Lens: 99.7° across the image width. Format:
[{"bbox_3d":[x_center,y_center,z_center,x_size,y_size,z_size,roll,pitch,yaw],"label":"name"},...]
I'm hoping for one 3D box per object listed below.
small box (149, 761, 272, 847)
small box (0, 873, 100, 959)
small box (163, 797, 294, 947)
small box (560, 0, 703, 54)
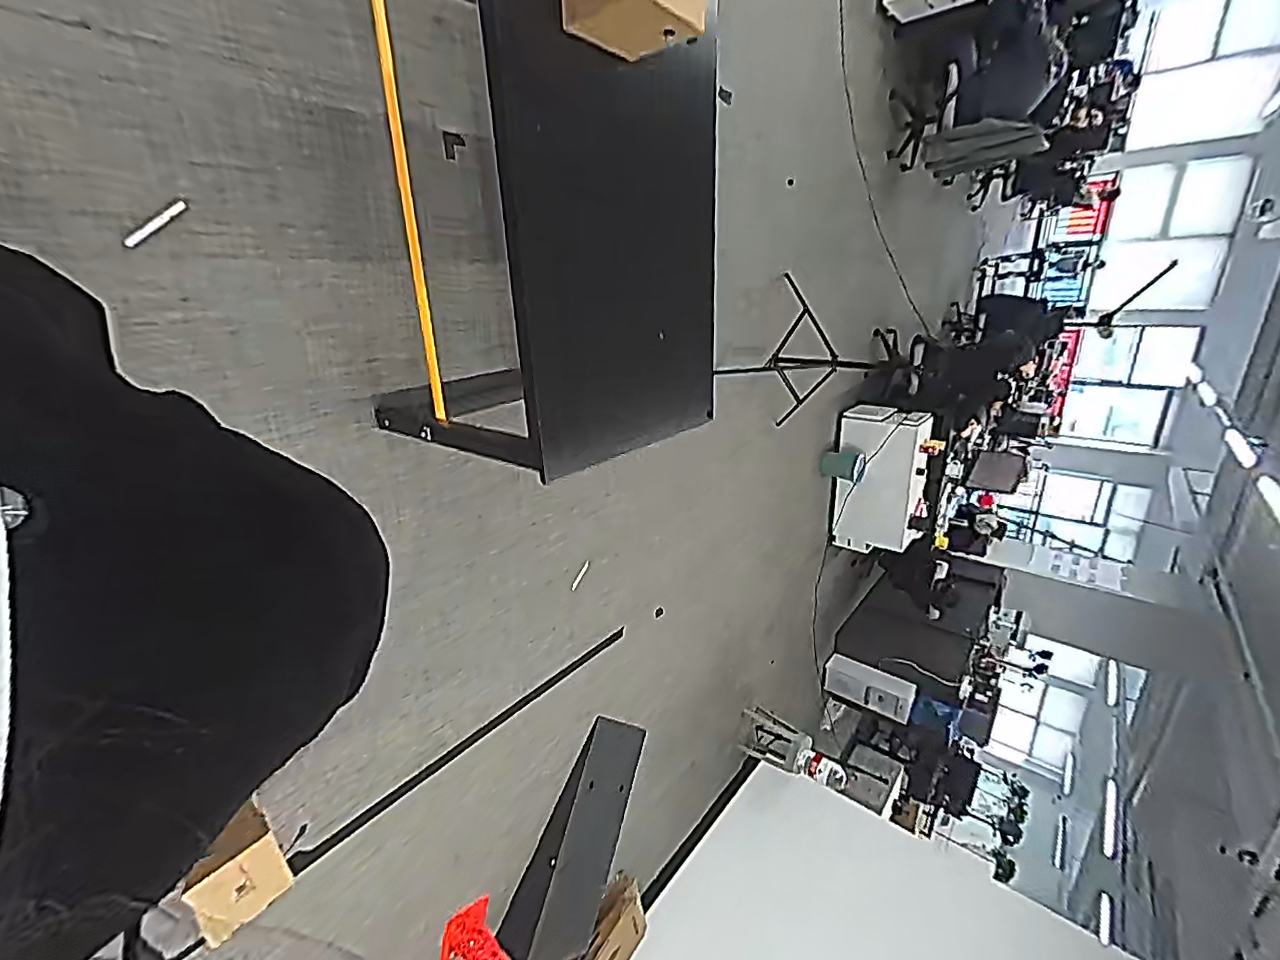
[{"bbox_3d":[-1.032,0.826,1.302,0.179,0.176,0.168,-25,119,-44],"label":"small box"},{"bbox_3d":[-1.239,0.946,1.089,0.168,0.176,0.179,-23,117,-45],"label":"small box"},{"bbox_3d":[-0.911,0.855,1.198,0.168,0.176,0.179,-29,121,-45],"label":"small box"},{"bbox_3d":[-0.012,-0.825,0.873,0.179,0.176,0.168,-21,117,-46],"label":"small box"}]
